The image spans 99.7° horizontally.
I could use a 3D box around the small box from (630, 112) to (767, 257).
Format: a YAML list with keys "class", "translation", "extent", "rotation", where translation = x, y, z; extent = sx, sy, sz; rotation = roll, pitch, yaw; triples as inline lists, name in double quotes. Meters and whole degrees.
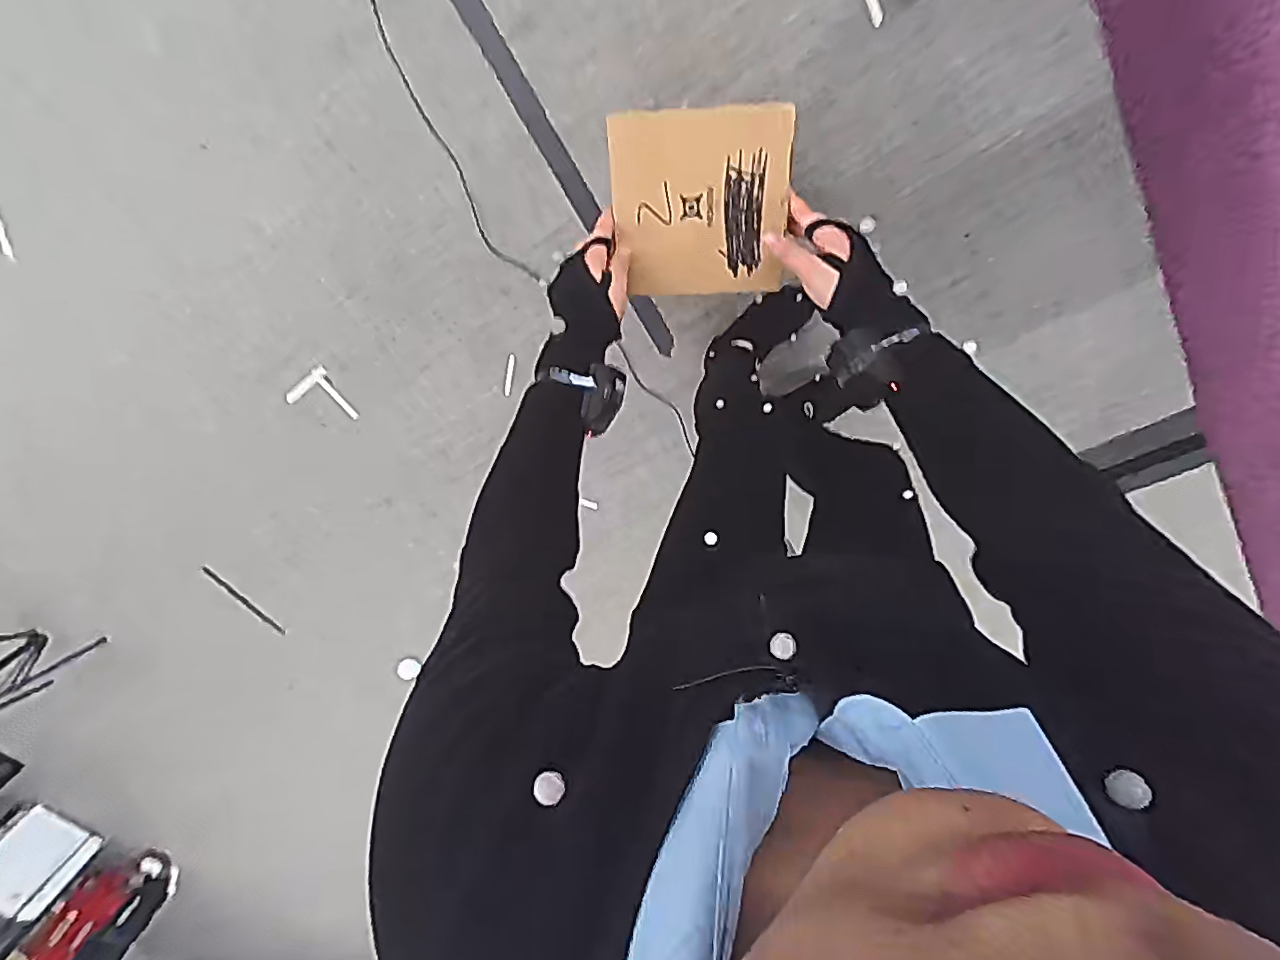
- class: "small box"
  translation: [0.092, -0.481, 0.880]
  extent: [0.179, 0.176, 0.168]
  rotation: [13, 122, 0]

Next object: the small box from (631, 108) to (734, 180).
- class: "small box"
  translation: [0.093, -0.579, 1.014]
  extent: [0.179, 0.176, 0.168]
  rotation: [-5, 121, 11]
